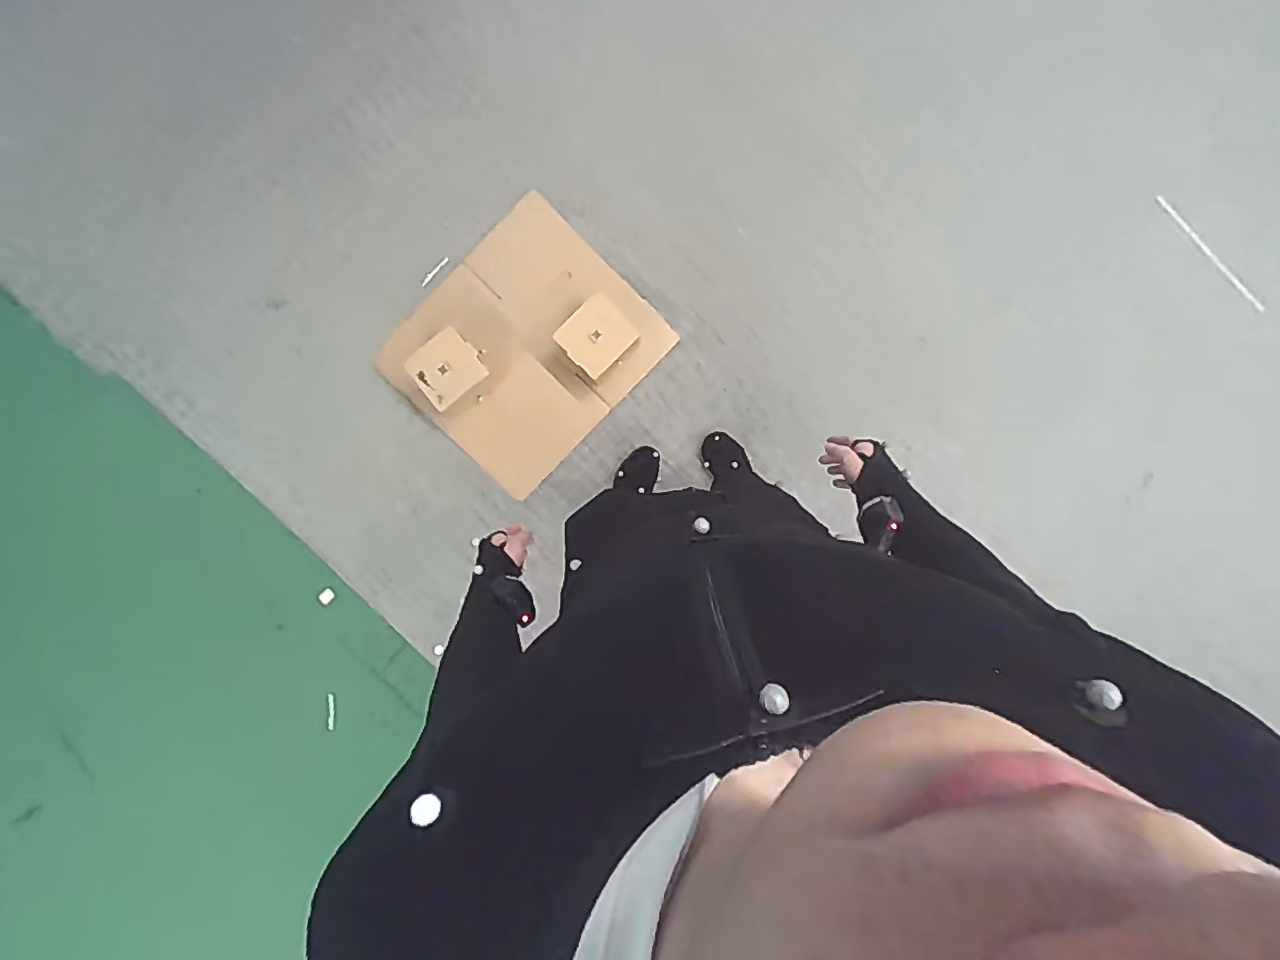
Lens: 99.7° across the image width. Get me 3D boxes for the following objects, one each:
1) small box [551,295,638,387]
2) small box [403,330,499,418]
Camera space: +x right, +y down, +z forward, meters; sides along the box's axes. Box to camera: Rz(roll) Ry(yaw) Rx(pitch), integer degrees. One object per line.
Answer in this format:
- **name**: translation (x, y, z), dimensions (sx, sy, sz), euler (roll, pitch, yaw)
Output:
- **small box**: translation (-0.119, -0.378, 1.508), dimensions (0.179, 0.176, 0.168), euler (-44, 94, 3)
- **small box**: translation (-0.514, -0.289, 1.509), dimensions (0.179, 0.176, 0.168), euler (-37, 94, 2)
